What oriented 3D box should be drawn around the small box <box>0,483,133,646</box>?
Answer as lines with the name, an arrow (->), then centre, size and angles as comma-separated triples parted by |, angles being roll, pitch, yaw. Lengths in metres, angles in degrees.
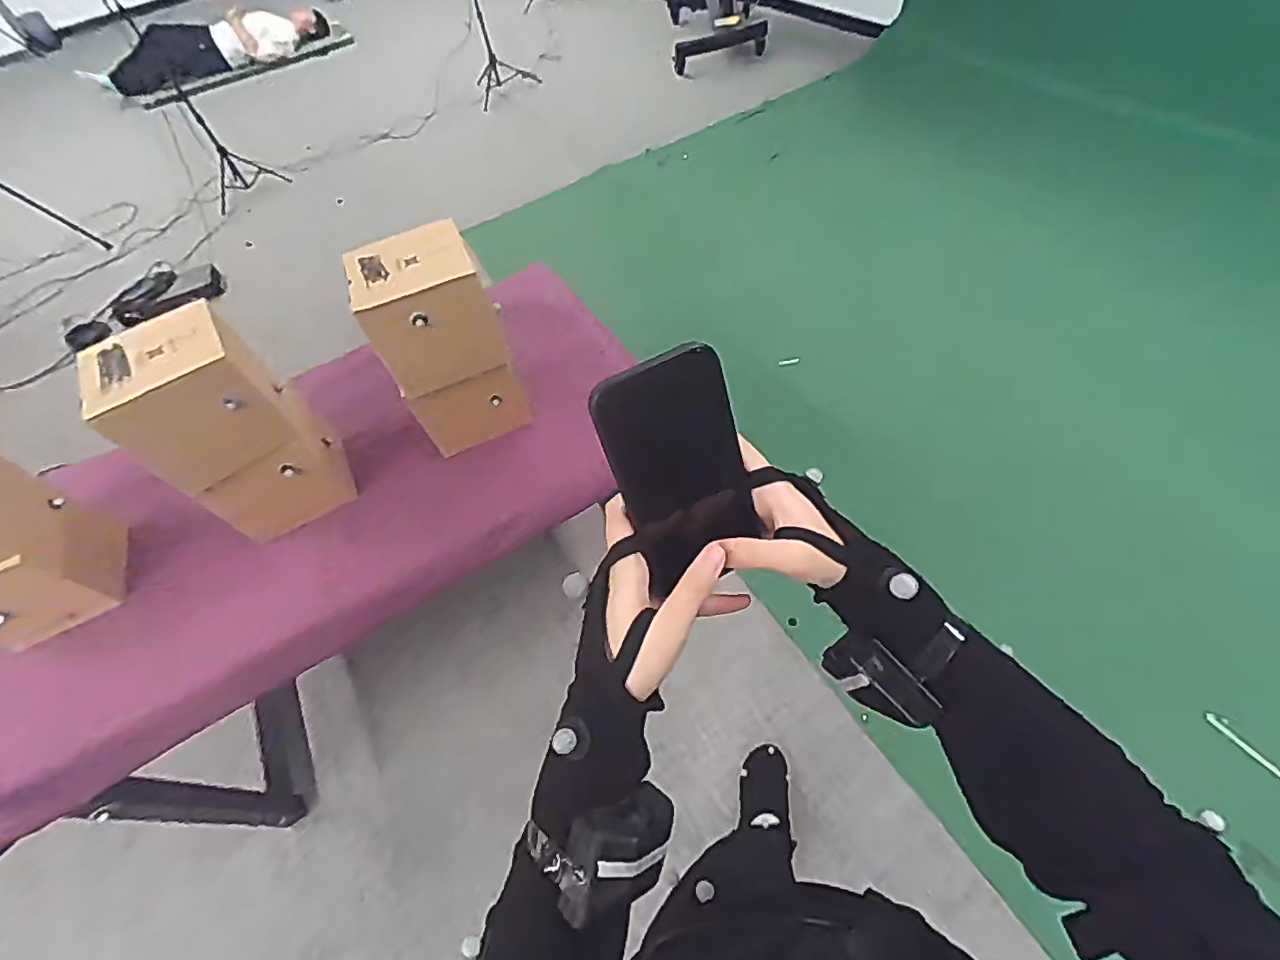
small box -> -0.967, 0.143, 0.863 | 0.168, 0.176, 0.179 | -28, 56, -11

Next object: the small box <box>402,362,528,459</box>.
small box -> -0.317, -0.170, 0.984 | 0.179, 0.176, 0.168 | -23, 55, -7

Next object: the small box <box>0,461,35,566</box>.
small box -> -0.991, 0.045, 0.734 | 0.168, 0.176, 0.179 | -32, 57, -14

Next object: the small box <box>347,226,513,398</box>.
small box -> -0.322, -0.256, 0.844 | 0.179, 0.176, 0.168 | -23, 55, -8

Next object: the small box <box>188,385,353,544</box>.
small box -> -0.619, -0.023, 0.925 | 0.179, 0.176, 0.168 | -28, 56, -11
